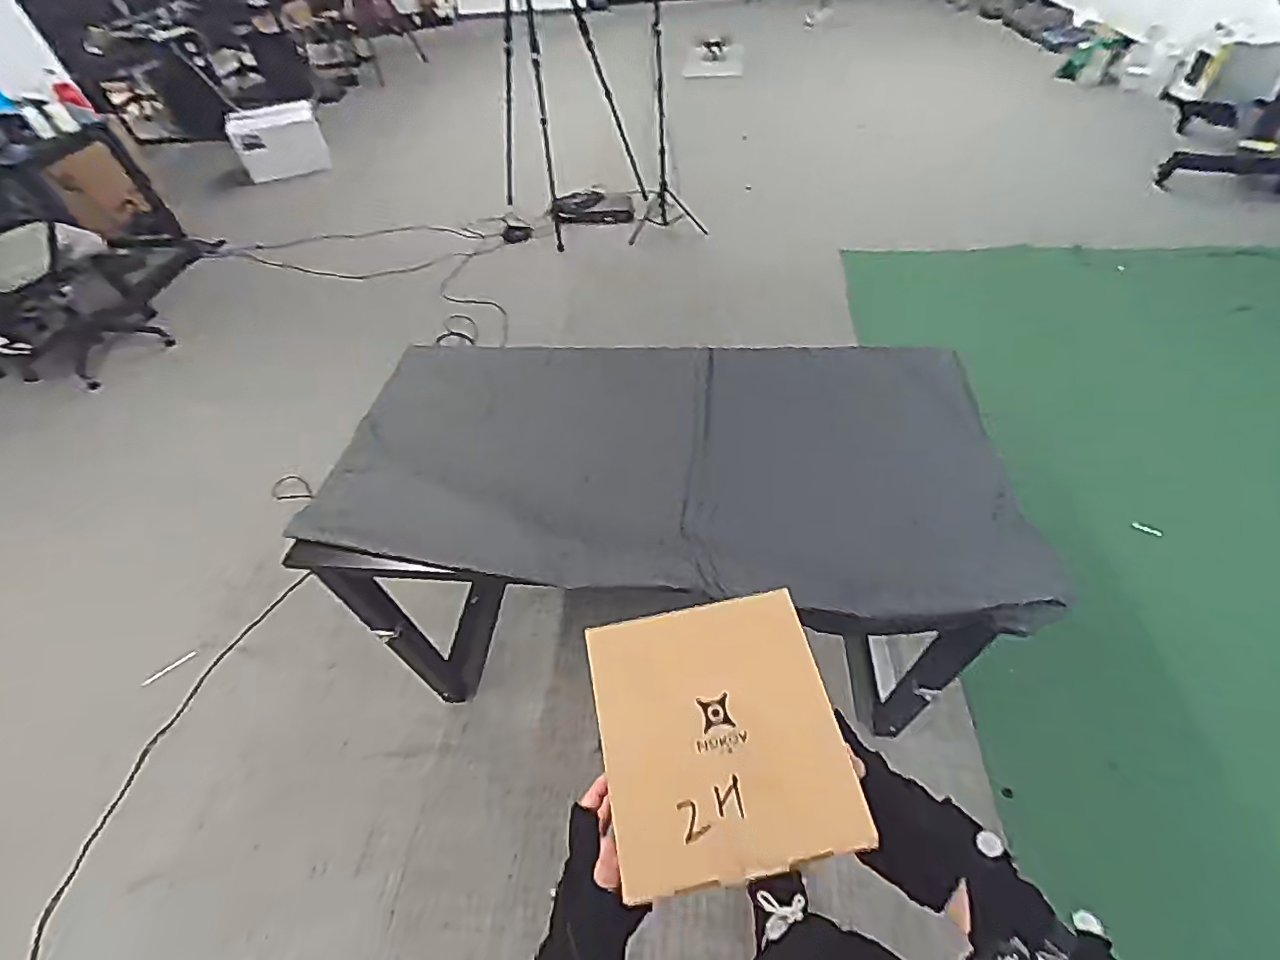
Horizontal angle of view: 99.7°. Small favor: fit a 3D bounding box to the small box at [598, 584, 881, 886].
[{"bbox_3d":[0.061,0.211,0.449,0.168,0.176,0.179,-10,57,-4],"label":"small box"}]
